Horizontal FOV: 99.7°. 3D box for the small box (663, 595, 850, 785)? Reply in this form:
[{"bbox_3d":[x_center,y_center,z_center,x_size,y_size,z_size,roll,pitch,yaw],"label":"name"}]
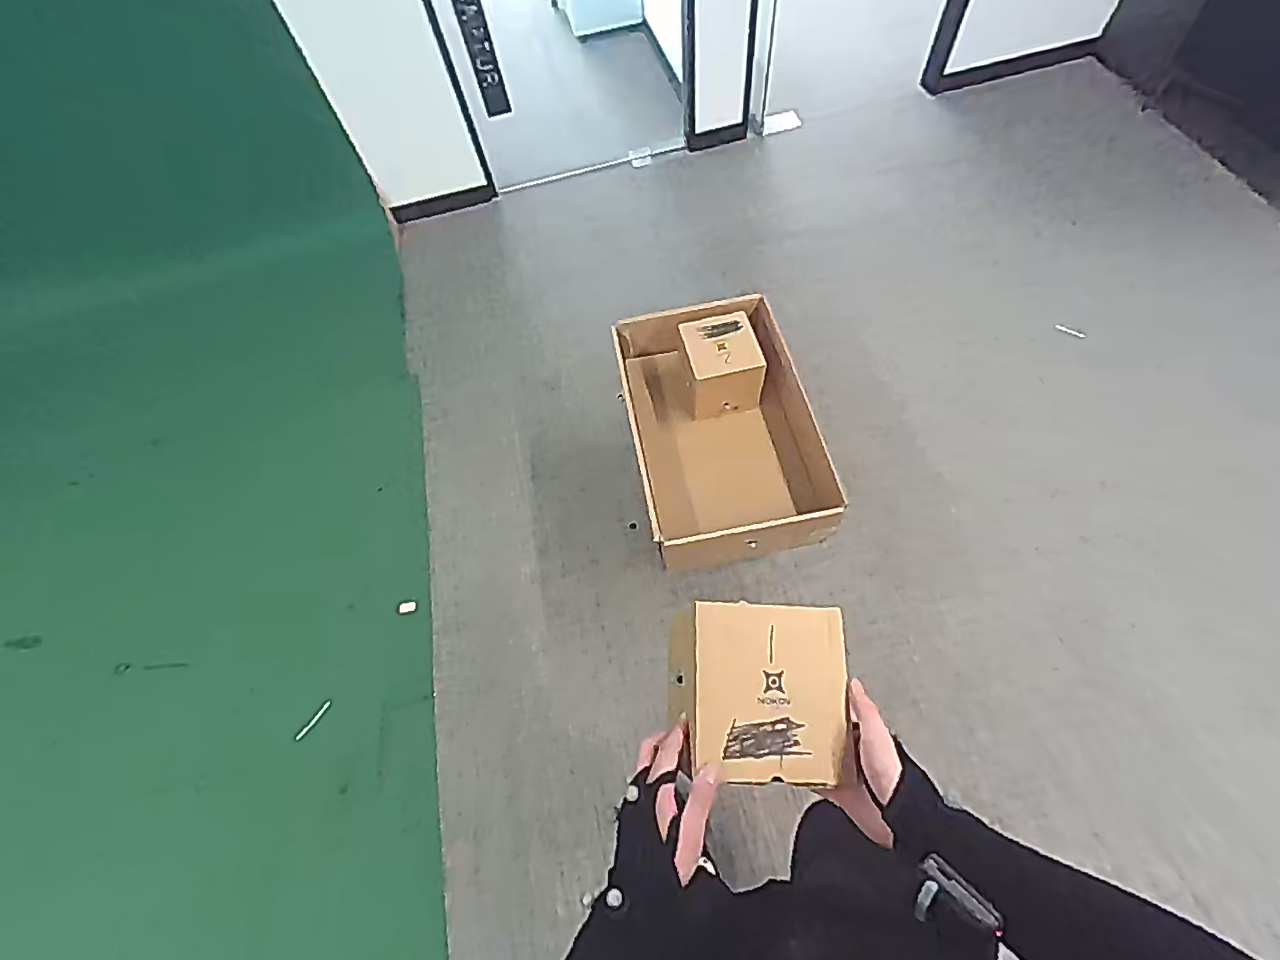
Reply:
[{"bbox_3d":[0.122,0.235,0.624,0.168,0.176,0.179,5,71,-6],"label":"small box"}]
